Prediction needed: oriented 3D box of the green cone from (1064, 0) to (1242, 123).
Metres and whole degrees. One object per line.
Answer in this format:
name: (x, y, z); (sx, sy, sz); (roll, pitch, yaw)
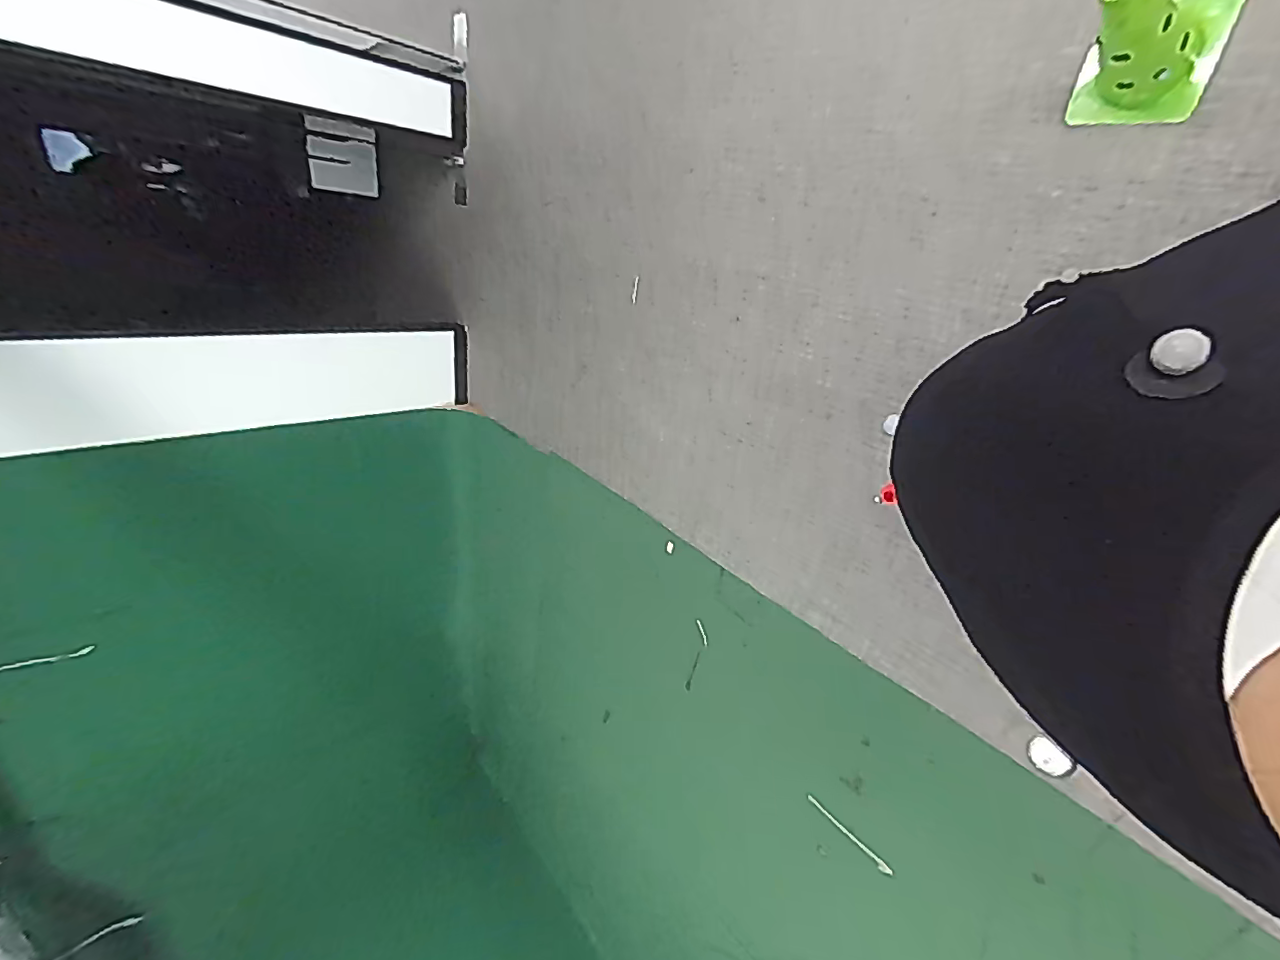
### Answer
green cone: (0.815, -0.744, 0.891); (0.202, 0.368, 0.200); (29, 123, 39)
